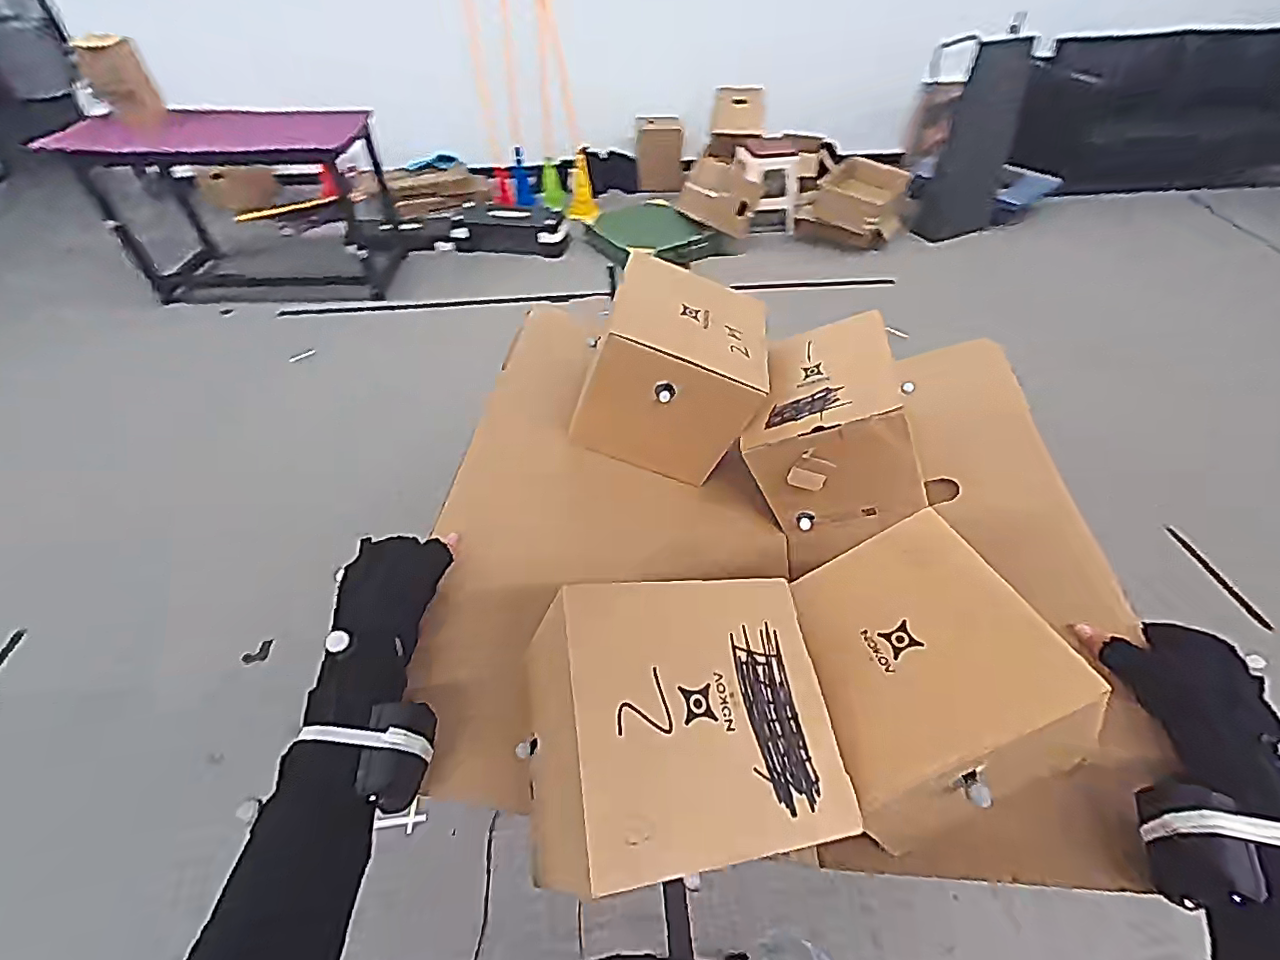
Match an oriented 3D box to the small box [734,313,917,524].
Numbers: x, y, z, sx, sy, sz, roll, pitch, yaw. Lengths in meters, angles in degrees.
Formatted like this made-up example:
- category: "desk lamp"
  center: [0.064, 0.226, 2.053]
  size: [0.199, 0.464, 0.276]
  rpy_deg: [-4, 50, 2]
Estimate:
- category: "small box"
  center: [0.224, -0.062, 0.657]
  size: [0.168, 0.176, 0.179]
  rpy_deg: [-14, 44, 26]
